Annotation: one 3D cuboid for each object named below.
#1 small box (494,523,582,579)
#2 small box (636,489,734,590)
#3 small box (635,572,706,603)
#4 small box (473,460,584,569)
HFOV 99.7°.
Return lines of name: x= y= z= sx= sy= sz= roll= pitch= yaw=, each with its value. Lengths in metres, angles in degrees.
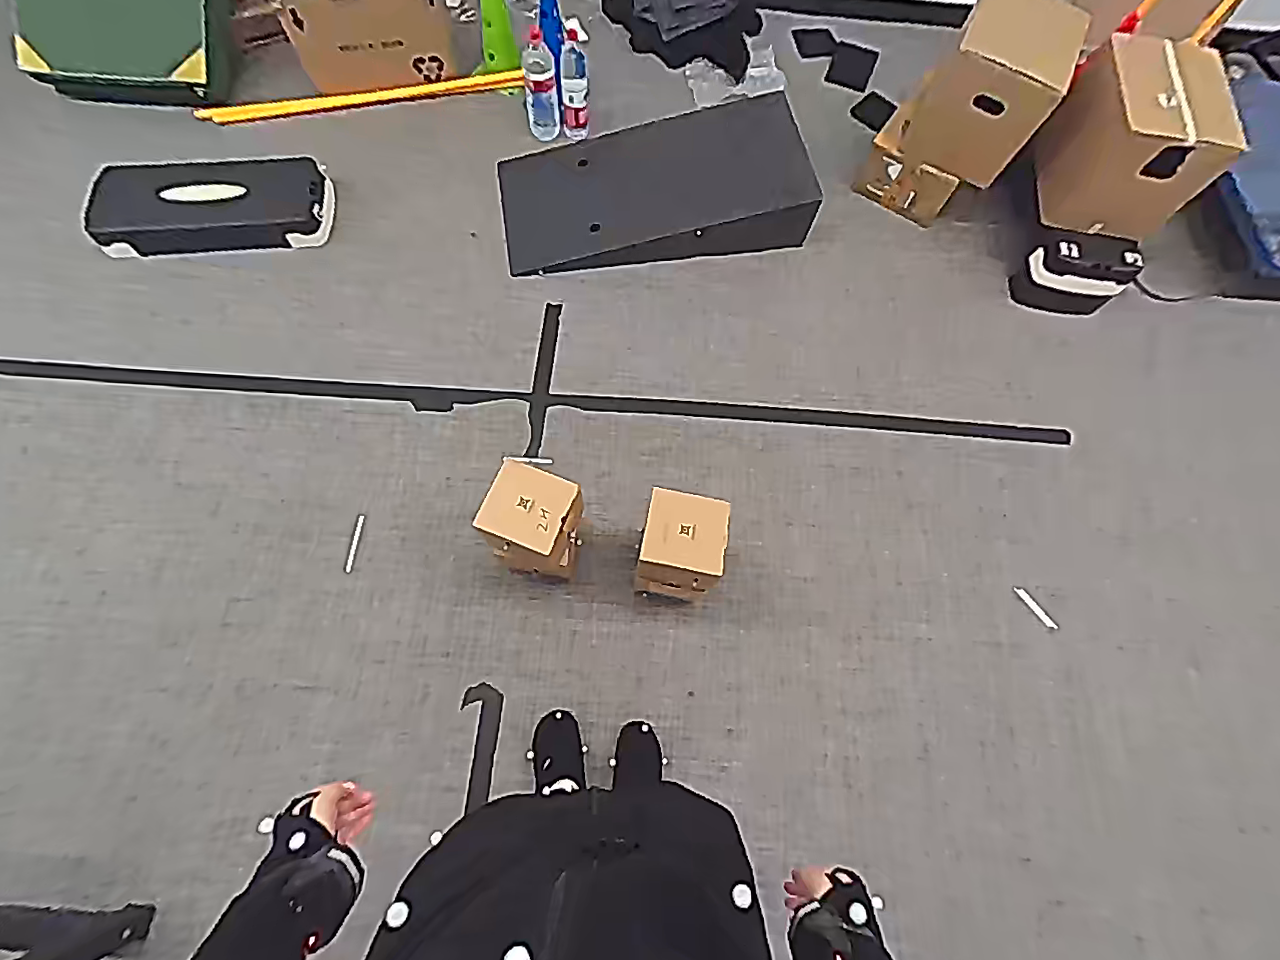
small box: x=-0.244 y=0.144 z=1.350 sx=0.179 sy=0.176 sz=0.168 roll=10 pitch=69 yaw=-1
small box: x=0.096 y=0.140 z=1.199 sx=0.179 sy=0.176 sz=0.168 roll=12 pitch=68 yaw=1
small box: x=0.083 y=0.200 z=1.350 sx=0.168 sy=0.176 sz=0.179 roll=11 pitch=69 yaw=0
small box: x=-0.236 y=0.083 z=1.196 sx=0.179 sy=0.176 sz=0.168 roll=22 pitch=71 yaw=5
